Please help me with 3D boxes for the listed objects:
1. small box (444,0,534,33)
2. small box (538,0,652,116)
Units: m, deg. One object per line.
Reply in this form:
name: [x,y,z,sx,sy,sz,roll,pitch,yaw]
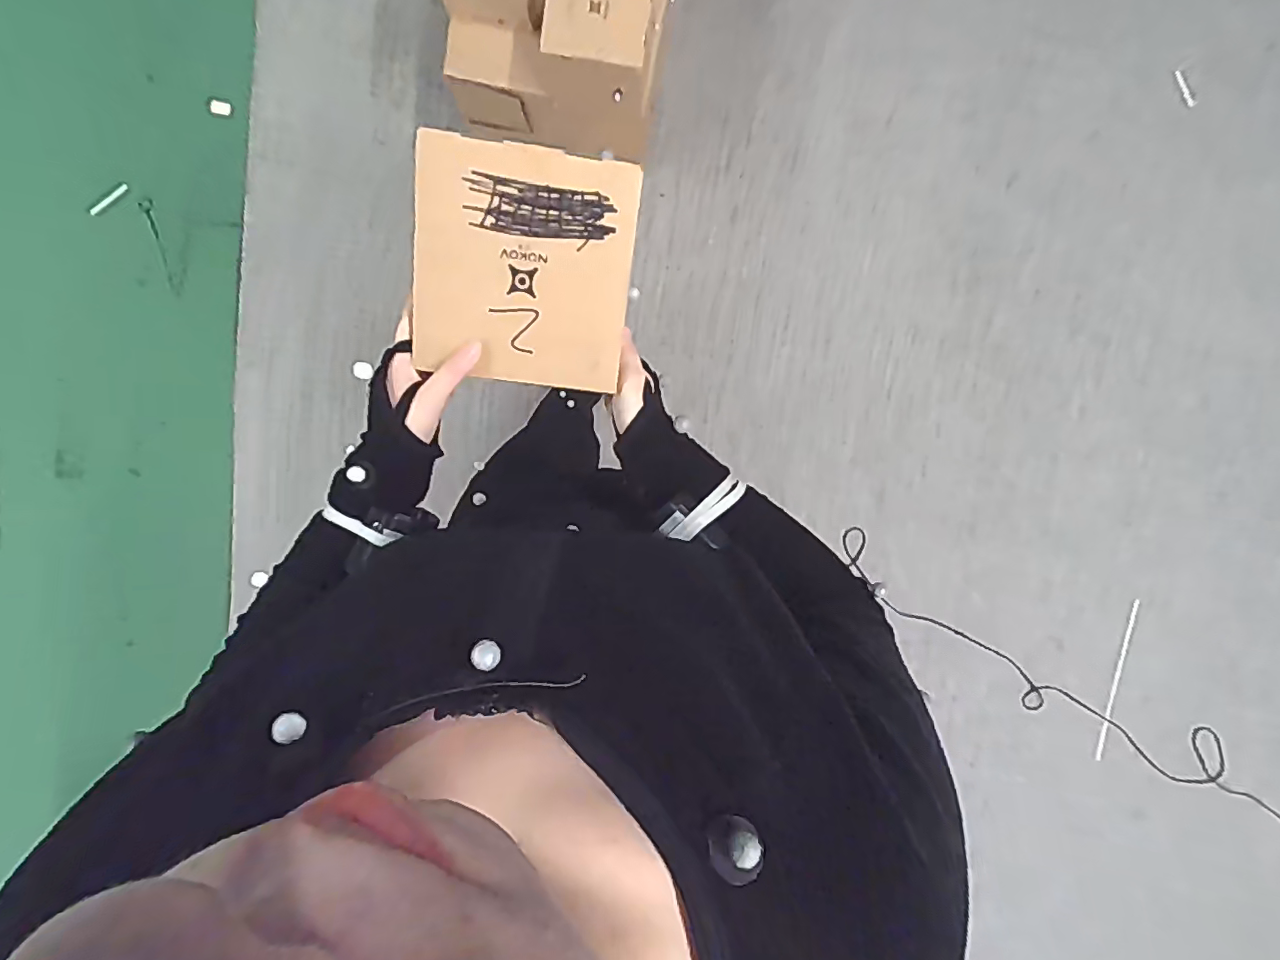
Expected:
small box: [-0.276,-0.946,0.946,0.168,0.176,0.179,9,95,-1]
small box: [-0.074,-0.787,0.965,0.179,0.176,0.168,8,96,-1]
